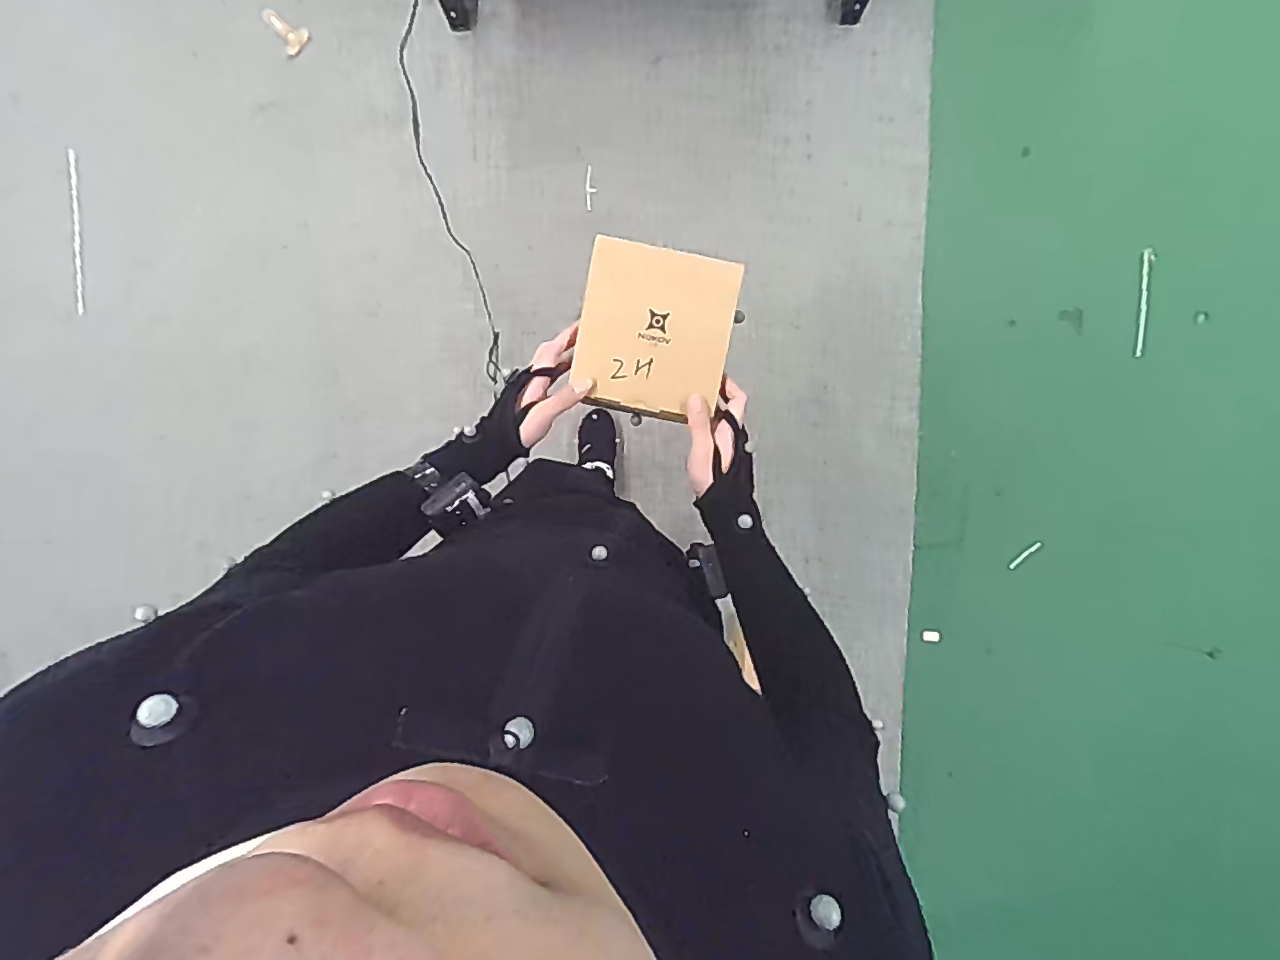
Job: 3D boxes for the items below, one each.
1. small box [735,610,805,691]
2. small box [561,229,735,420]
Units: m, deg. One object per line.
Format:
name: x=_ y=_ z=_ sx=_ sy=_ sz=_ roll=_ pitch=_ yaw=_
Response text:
small box: x=0.373 y=0.492 z=1.576 sx=0.168 sy=0.176 sz=0.179 roll=2 pitch=95 yaw=0
small box: x=0.008 y=-0.177 z=0.671 sx=0.168 sy=0.176 sz=0.179 roll=11 pitch=94 yaw=0
